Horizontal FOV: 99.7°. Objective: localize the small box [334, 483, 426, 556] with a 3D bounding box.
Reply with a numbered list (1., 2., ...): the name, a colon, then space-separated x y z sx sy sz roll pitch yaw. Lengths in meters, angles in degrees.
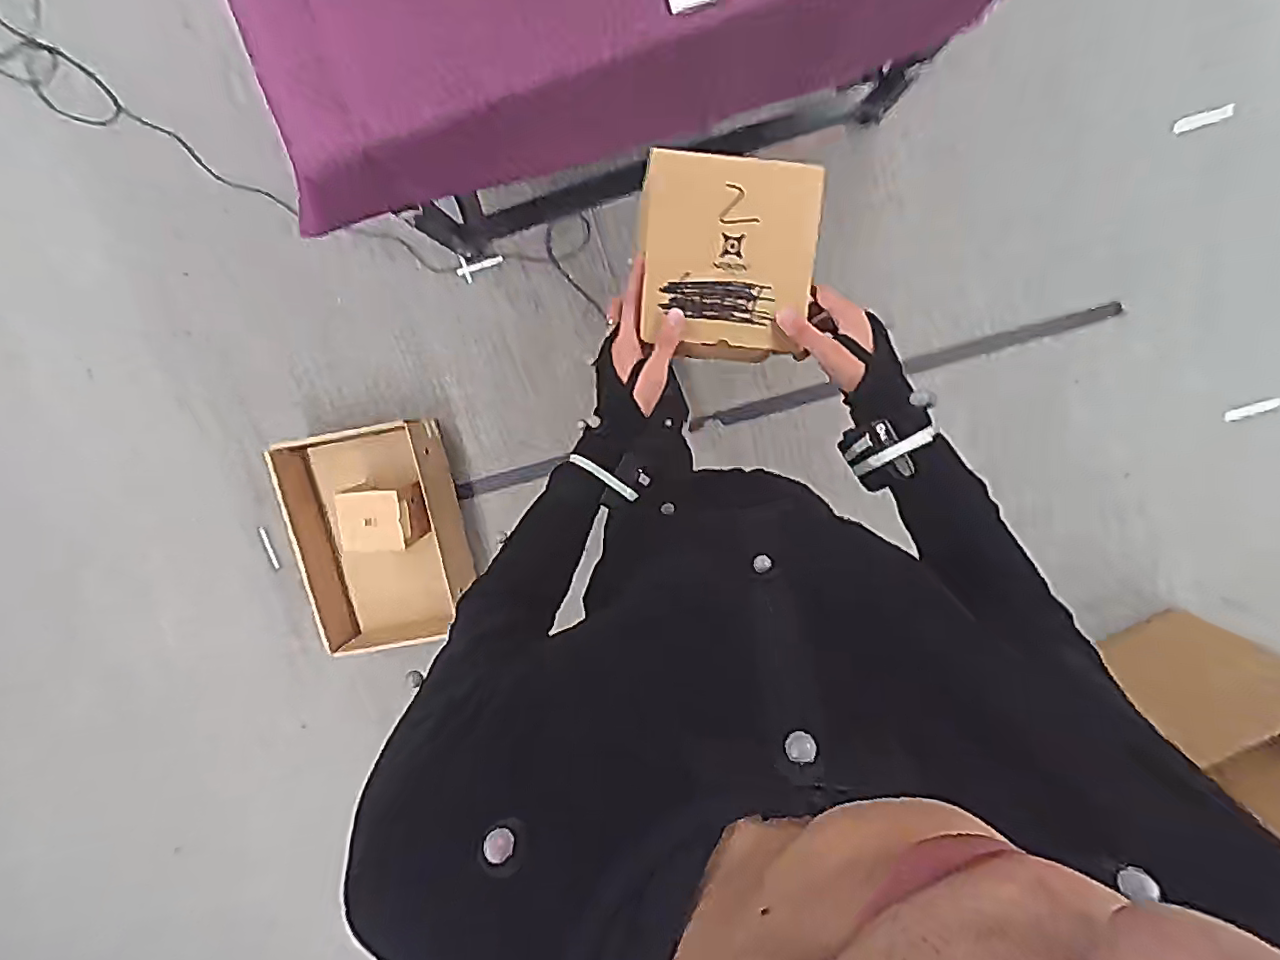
1. small box: -0.714 0.106 1.510 0.179 0.176 0.168 -3 100 1
